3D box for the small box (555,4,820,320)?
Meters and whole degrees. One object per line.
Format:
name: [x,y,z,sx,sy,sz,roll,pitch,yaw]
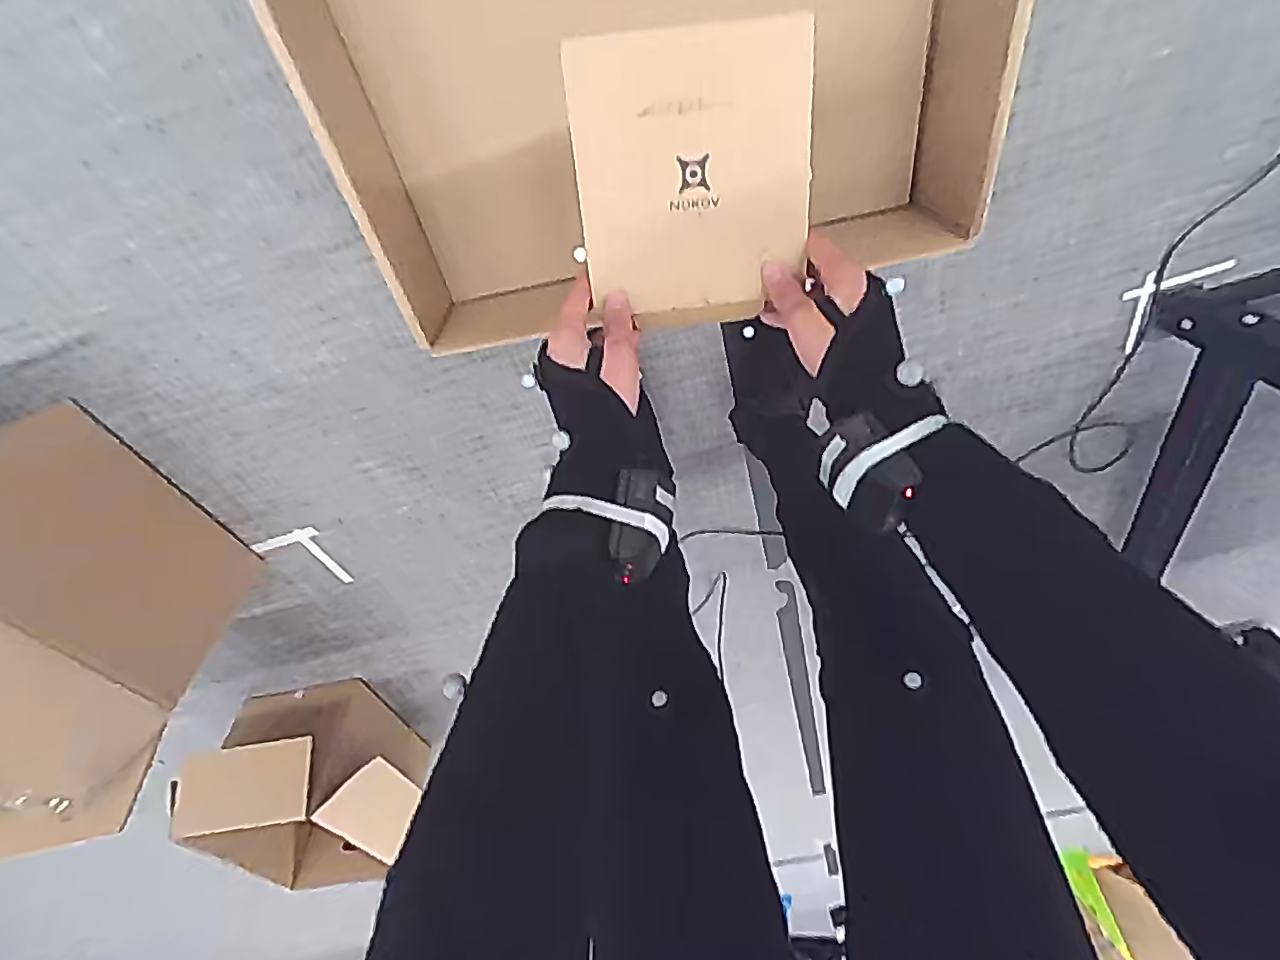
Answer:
small box: [0.032,-0.240,0.437,0.168,0.176,0.179,-7,116,-1]
